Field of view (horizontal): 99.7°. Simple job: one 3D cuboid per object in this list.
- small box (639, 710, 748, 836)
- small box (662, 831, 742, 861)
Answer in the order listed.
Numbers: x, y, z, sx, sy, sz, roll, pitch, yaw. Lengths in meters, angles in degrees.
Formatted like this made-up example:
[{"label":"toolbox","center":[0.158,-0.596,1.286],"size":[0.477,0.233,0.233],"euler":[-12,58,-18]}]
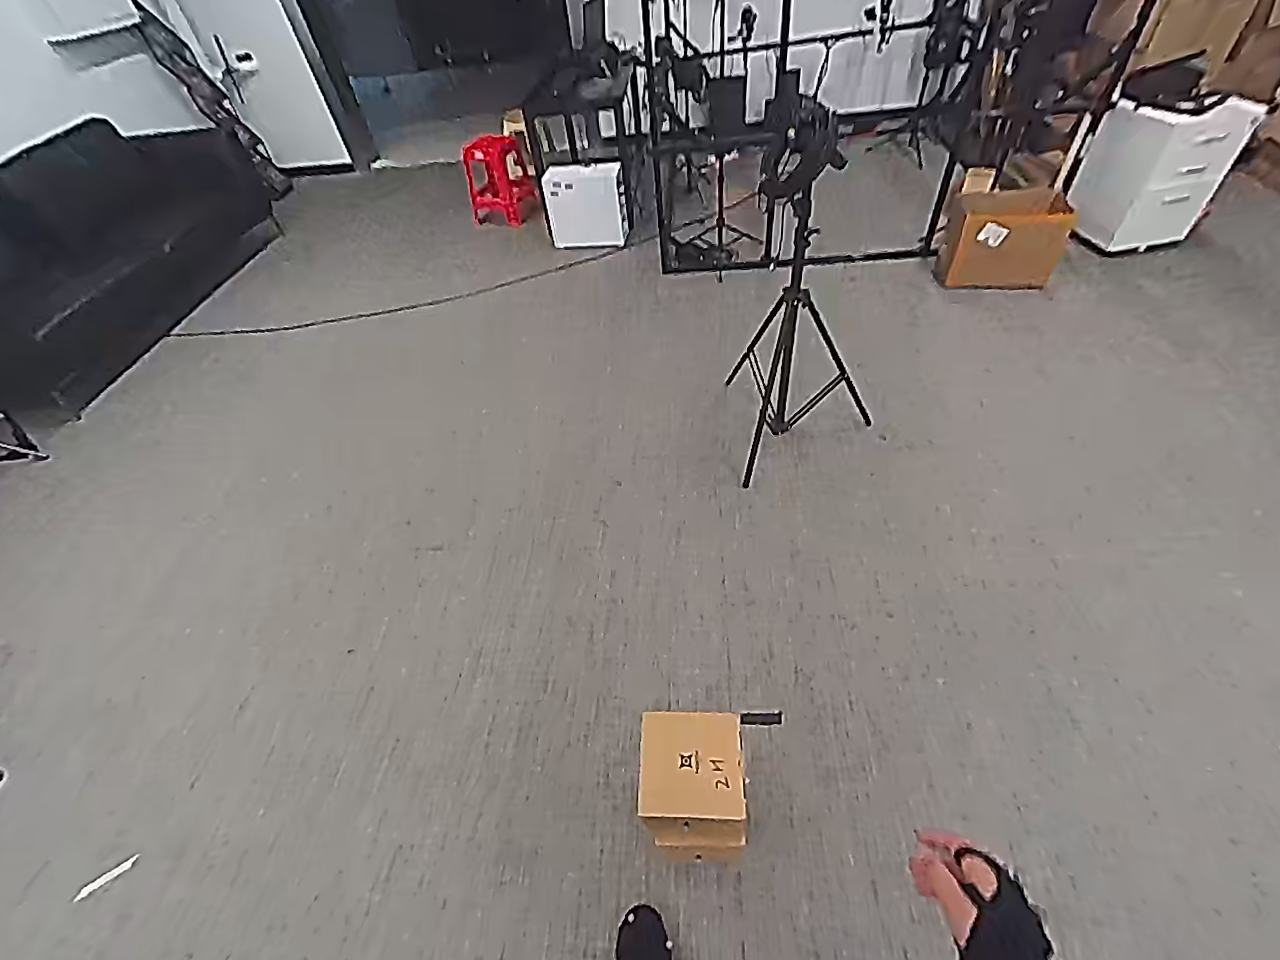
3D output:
[{"label":"small box","center":[0.098,0.523,0.964],"size":[0.179,0.176,0.168],"euler":[-1,49,6]},{"label":"small box","center":[0.132,0.735,1.214],"size":[0.168,0.176,0.179],"euler":[-6,47,3]}]
